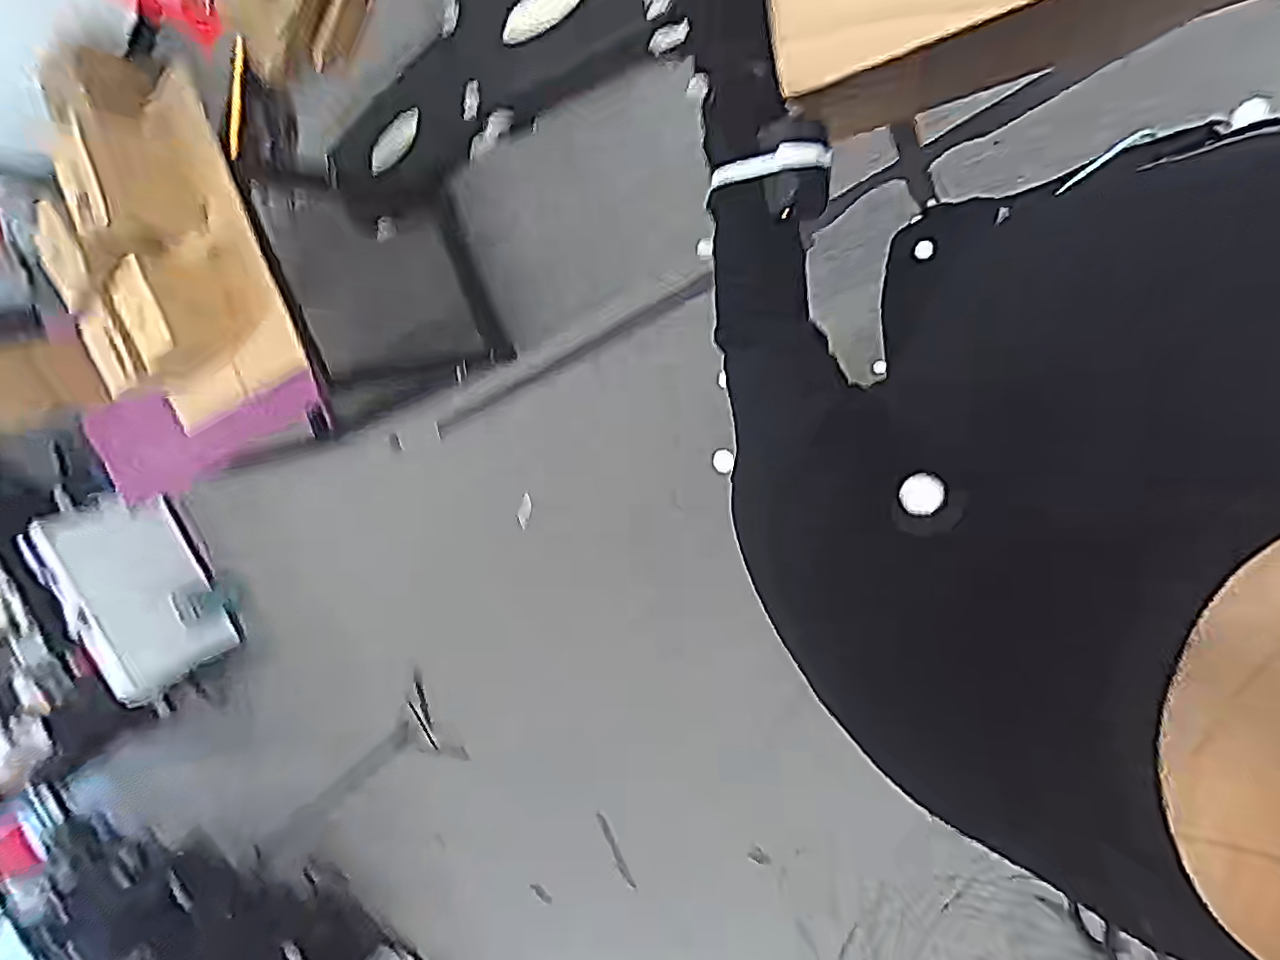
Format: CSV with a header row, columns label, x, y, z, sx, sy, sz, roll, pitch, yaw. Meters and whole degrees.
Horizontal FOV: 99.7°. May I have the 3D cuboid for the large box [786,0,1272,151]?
label,x,y,z,sx,sy,sz,roll,pitch,yaw
large box,0.313,-0.491,0.390,0.408,0.320,0.320,-5,112,27
